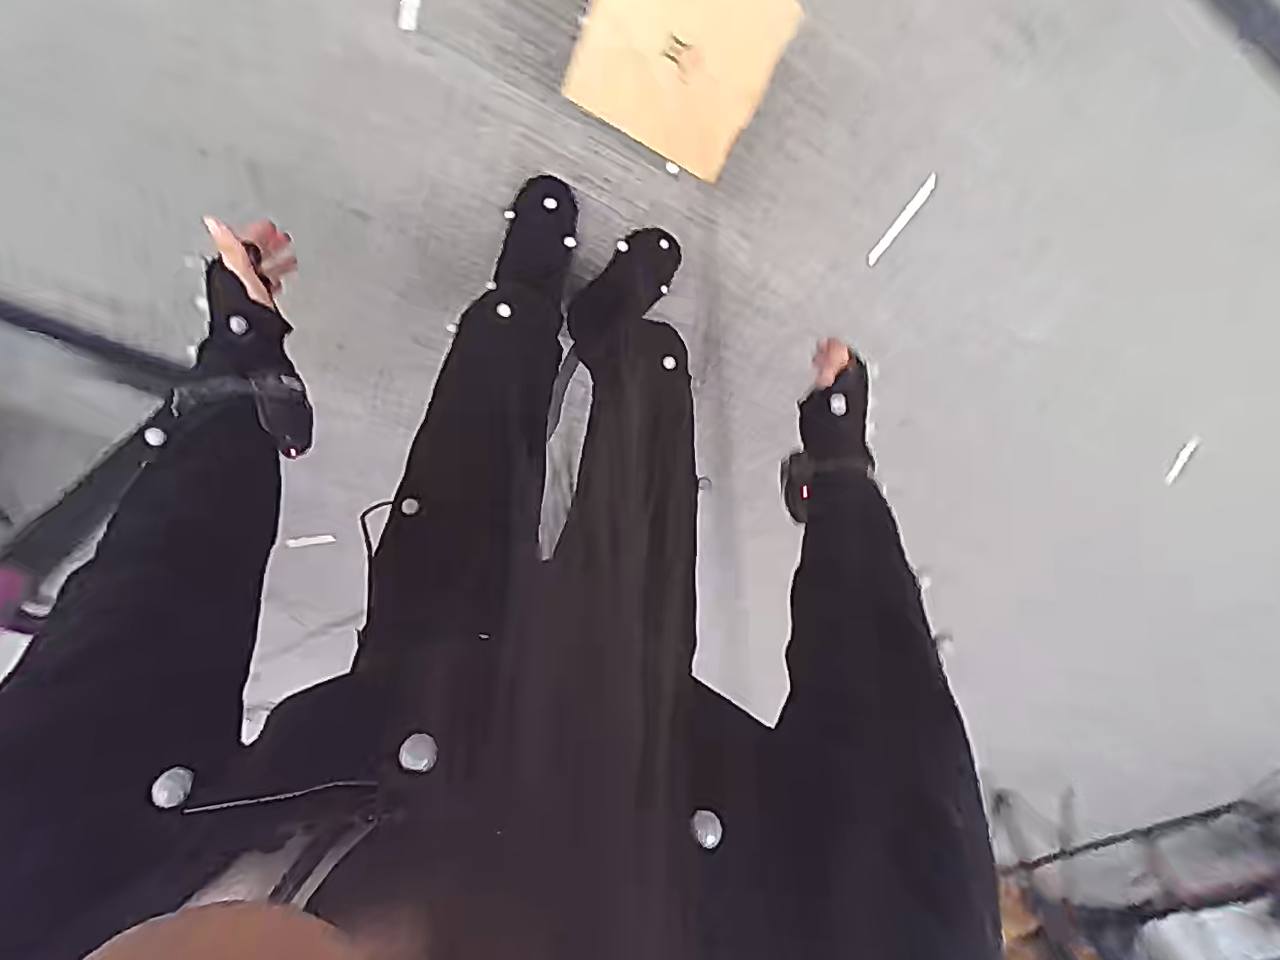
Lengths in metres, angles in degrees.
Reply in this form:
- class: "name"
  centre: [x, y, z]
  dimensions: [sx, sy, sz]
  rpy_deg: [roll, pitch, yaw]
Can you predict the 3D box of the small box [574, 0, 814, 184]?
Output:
- class: "small box"
  centre: [0.045, -0.455, 0.573]
  dimensions: [0.179, 0.176, 0.168]
  rpy_deg: [20, 129, -20]
